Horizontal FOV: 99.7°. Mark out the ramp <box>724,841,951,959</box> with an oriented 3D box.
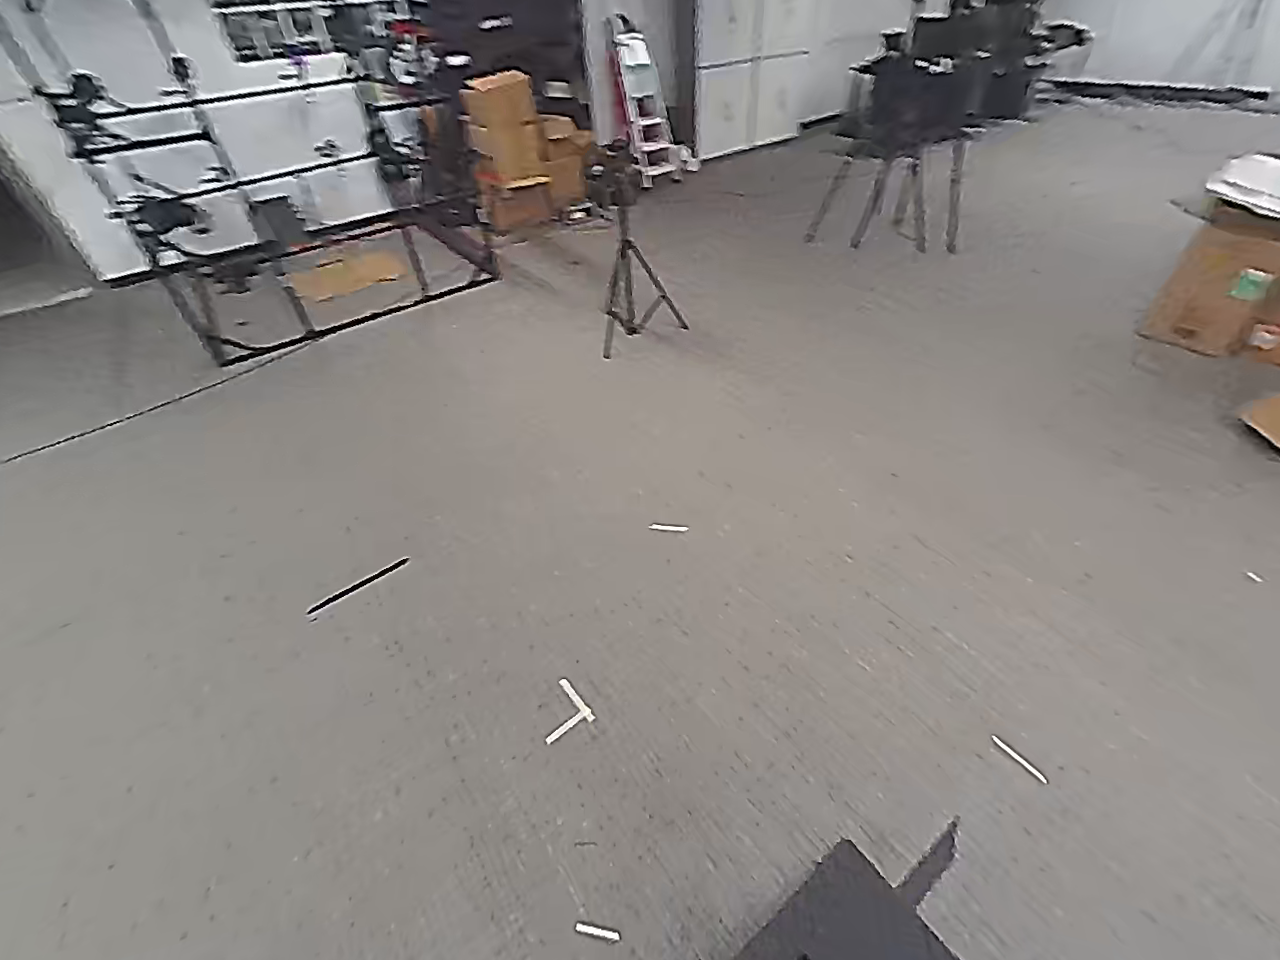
[{"bbox_3d":[0.265,1.196,0.988,0.991,0.206,0.509,-30,47,-26],"label":"ramp"}]
